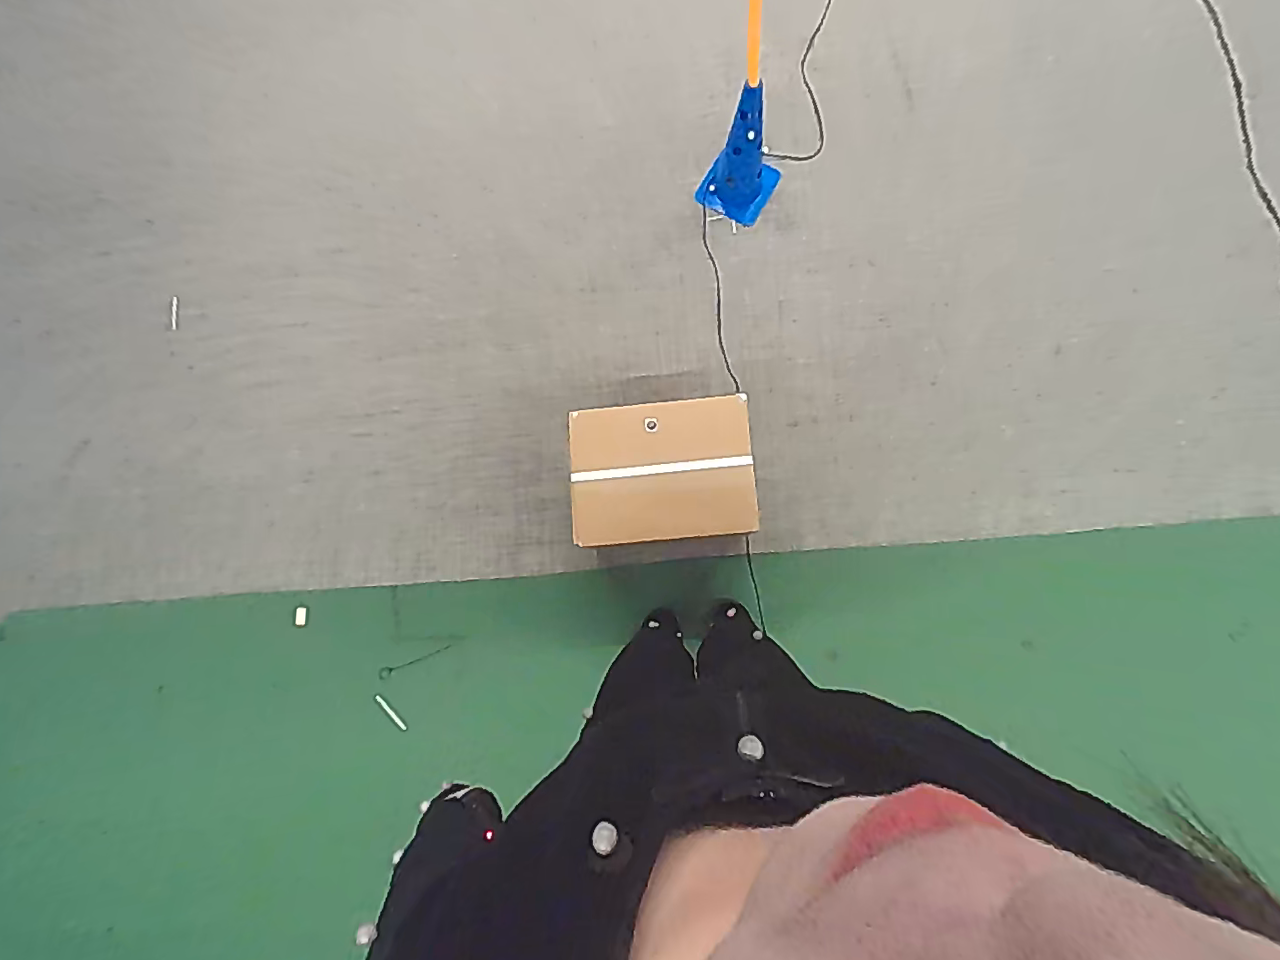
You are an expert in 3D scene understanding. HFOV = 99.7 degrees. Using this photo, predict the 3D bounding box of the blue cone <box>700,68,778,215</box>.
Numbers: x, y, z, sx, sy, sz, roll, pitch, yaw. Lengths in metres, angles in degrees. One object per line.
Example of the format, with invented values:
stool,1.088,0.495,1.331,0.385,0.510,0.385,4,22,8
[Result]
blue cone,0.277,-0.898,1.417,0.192,0.380,0.193,28,86,8
